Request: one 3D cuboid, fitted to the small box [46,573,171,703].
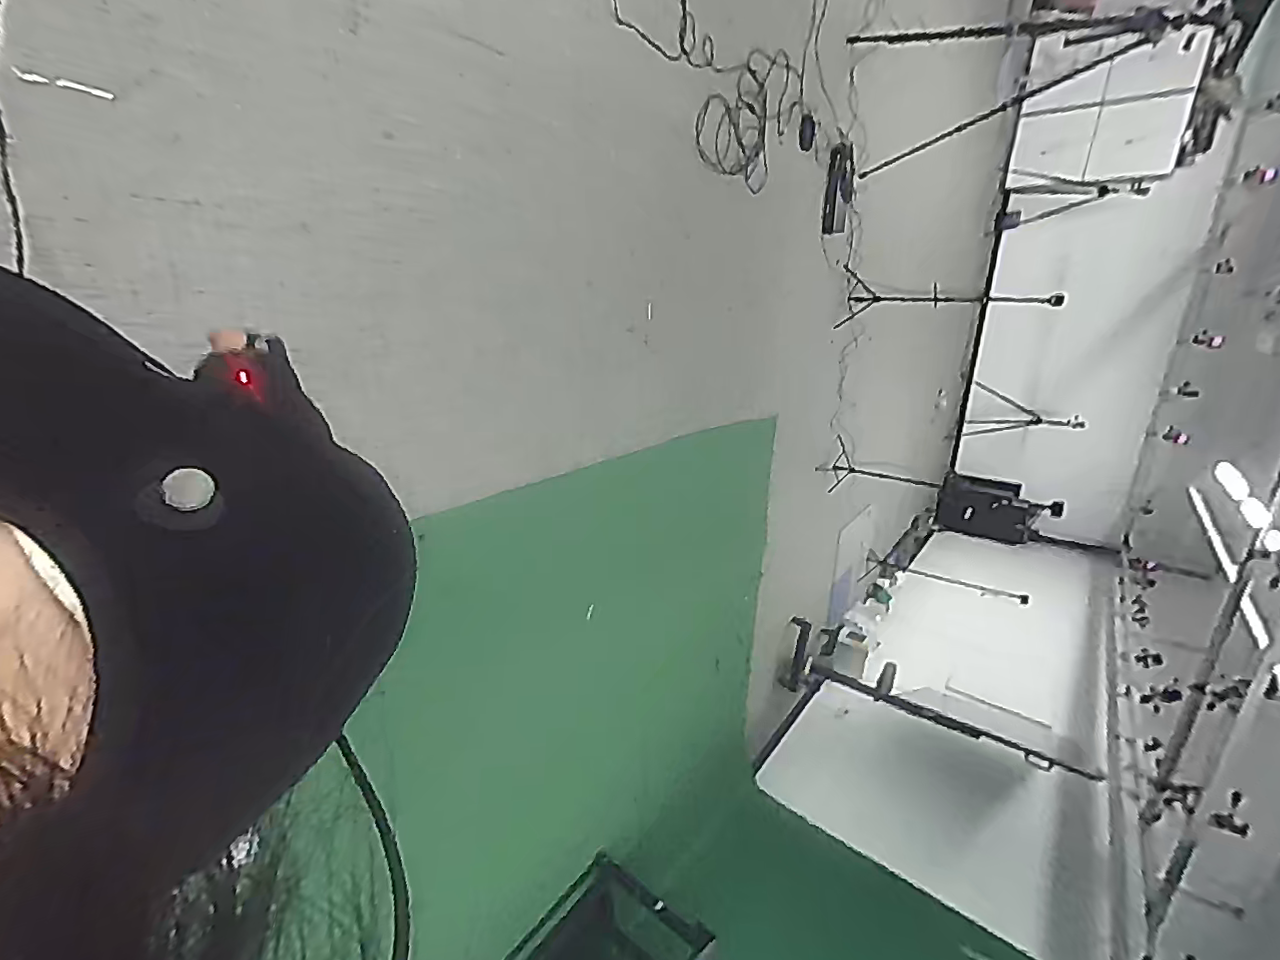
[{"bbox_3d":[-1.030,0.309,1.071,0.168,0.176,0.179,-20,117,-48],"label":"small box"}]

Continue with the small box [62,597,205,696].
[{"bbox_3d":[-0.898,0.329,0.975,0.168,0.176,0.179,-18,116,-48],"label":"small box"}]

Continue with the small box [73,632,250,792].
[{"bbox_3d":[-0.774,0.355,0.873,0.168,0.176,0.179,16,90,-53],"label":"small box"}]
